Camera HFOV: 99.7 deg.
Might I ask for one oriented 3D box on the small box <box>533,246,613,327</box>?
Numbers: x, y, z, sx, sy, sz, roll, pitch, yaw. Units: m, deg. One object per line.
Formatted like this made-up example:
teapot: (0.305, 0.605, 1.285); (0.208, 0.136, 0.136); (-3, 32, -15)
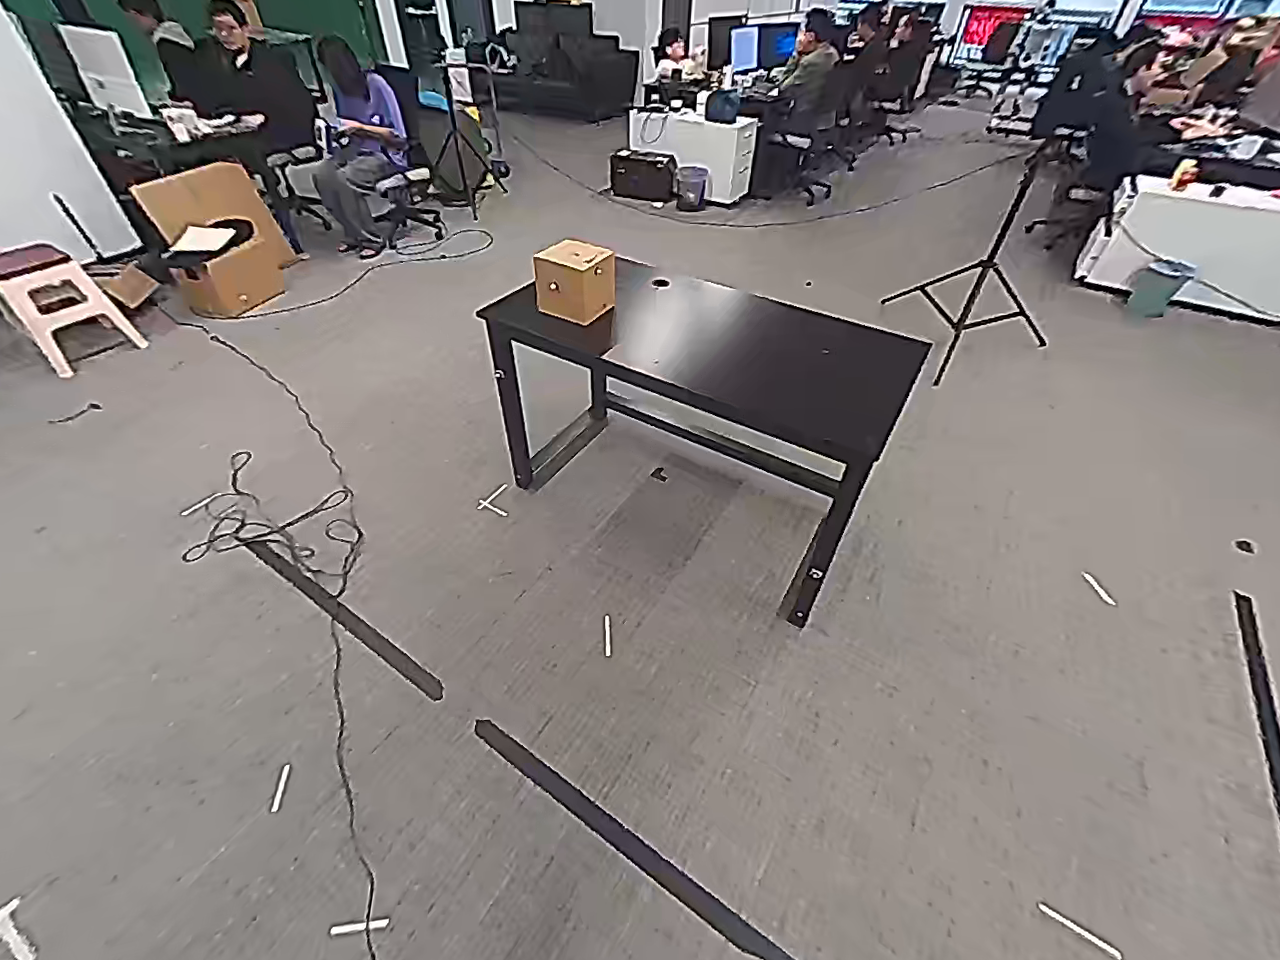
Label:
small box: (-0.195, -0.576, 1.612); (0.179, 0.176, 0.168); (22, 47, 21)
